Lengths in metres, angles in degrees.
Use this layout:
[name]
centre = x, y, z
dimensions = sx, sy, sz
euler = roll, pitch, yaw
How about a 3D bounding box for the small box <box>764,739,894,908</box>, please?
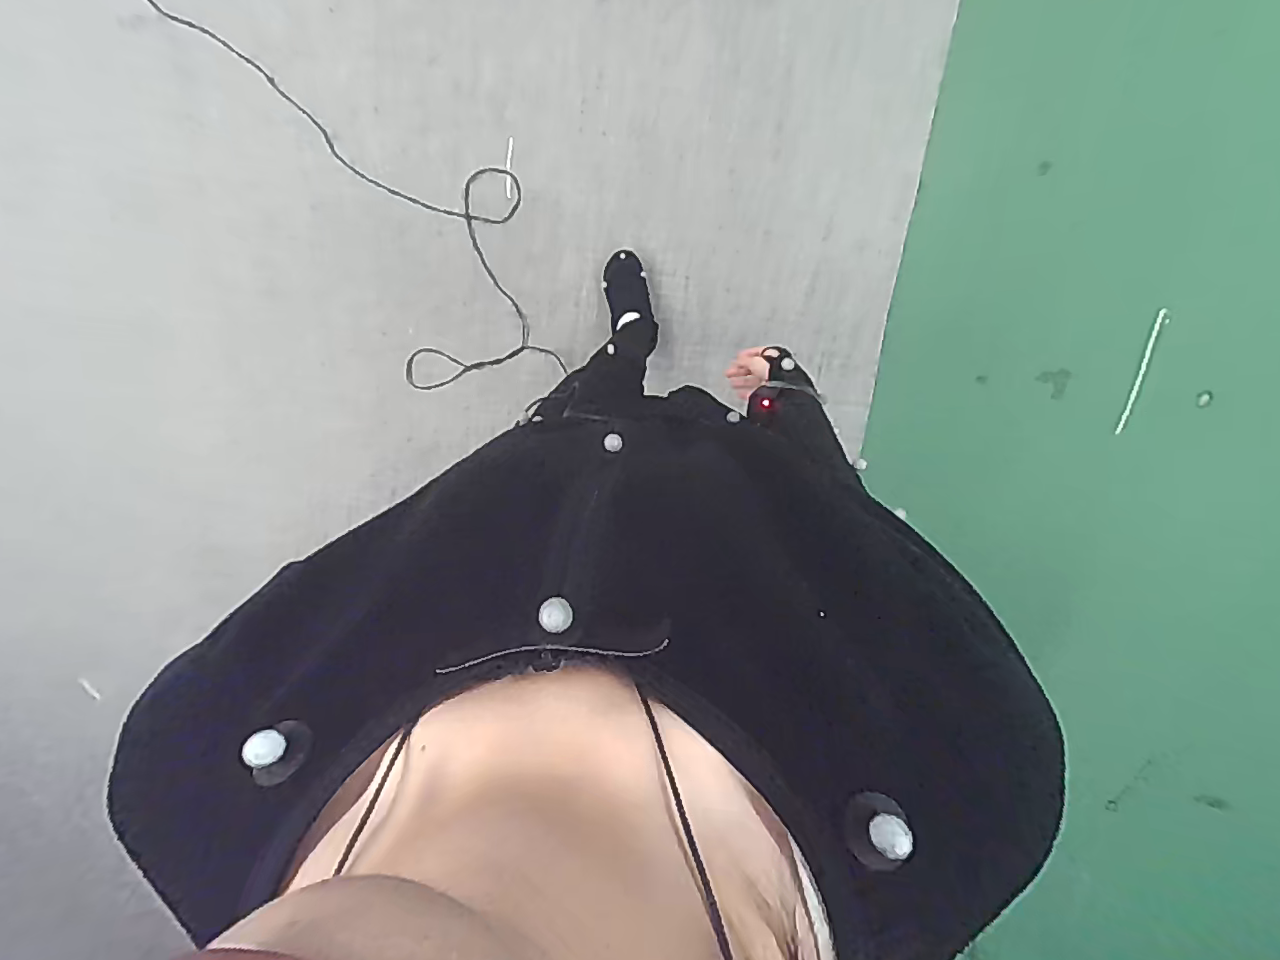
[small box]
centre = 0.297, 0.551, 0.885
dimensions = 0.168, 0.176, 0.179
euler = -2, 101, 4
